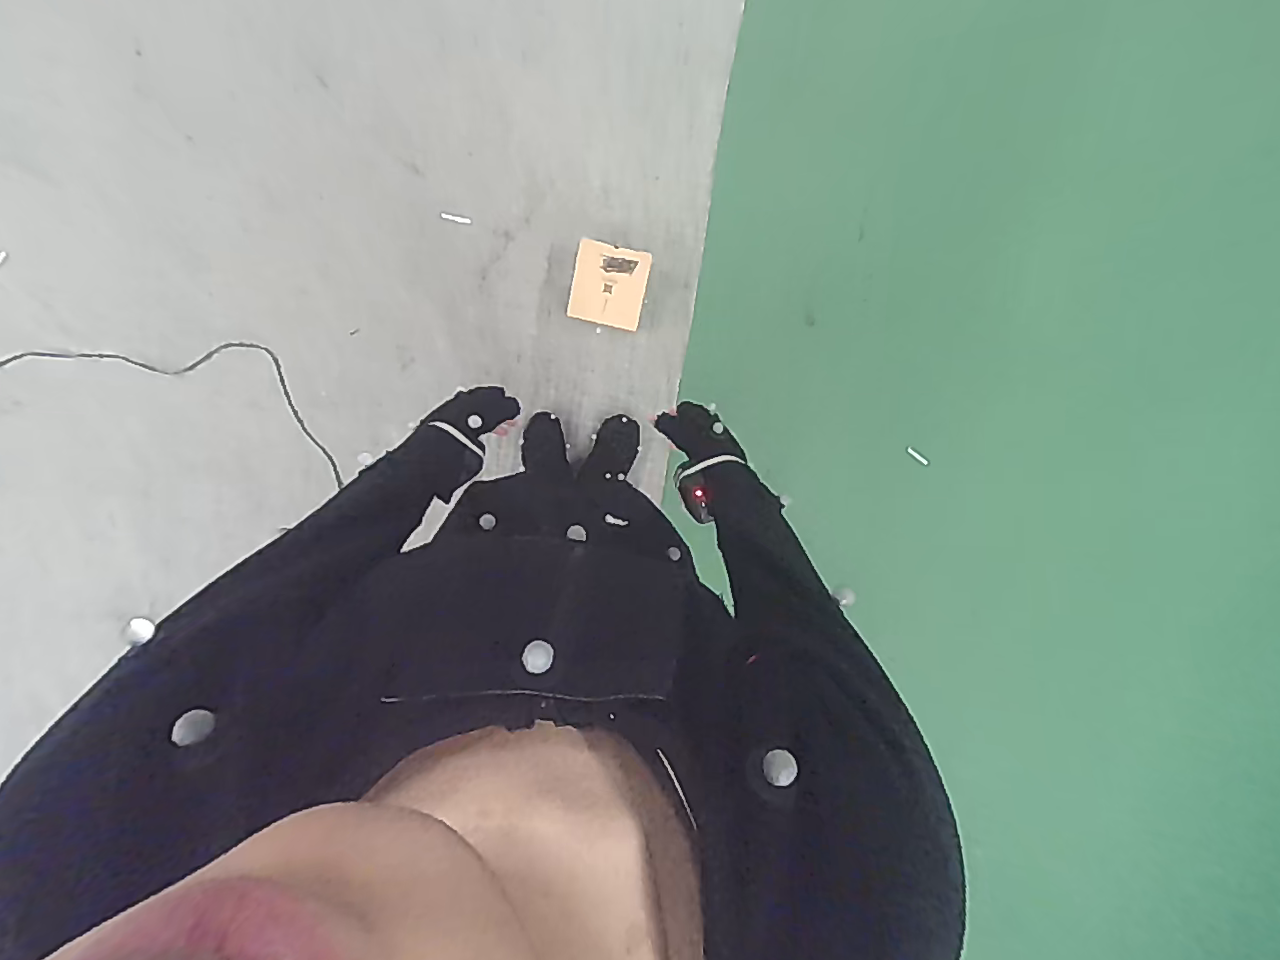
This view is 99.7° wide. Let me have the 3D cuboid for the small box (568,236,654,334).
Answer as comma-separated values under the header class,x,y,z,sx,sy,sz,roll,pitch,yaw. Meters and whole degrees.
class,x,y,z,sx,sy,sz,roll,pitch,yaw
small box,-0.071,-0.456,1.289,0.168,0.176,0.179,12,102,-6
